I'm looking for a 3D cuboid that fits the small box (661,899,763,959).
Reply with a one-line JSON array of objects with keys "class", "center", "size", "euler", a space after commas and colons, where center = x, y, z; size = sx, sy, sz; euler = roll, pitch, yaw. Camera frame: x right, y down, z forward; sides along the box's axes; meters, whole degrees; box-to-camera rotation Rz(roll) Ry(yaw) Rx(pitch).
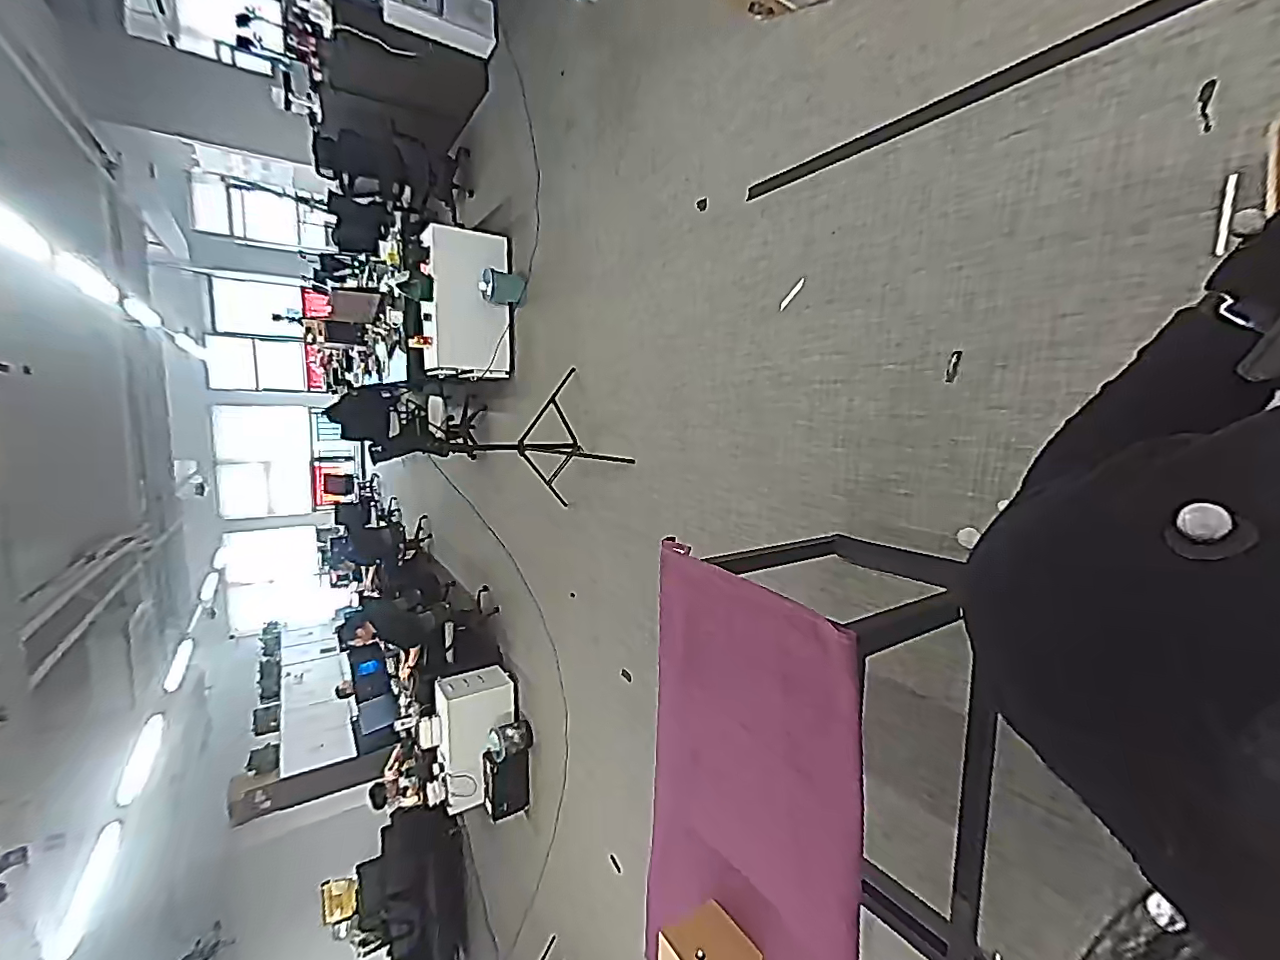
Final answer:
[{"class": "small box", "center": [0.165, 1.131, 1.249], "size": [0.179, 0.176, 0.168], "euler": [12, 103, 56]}]
